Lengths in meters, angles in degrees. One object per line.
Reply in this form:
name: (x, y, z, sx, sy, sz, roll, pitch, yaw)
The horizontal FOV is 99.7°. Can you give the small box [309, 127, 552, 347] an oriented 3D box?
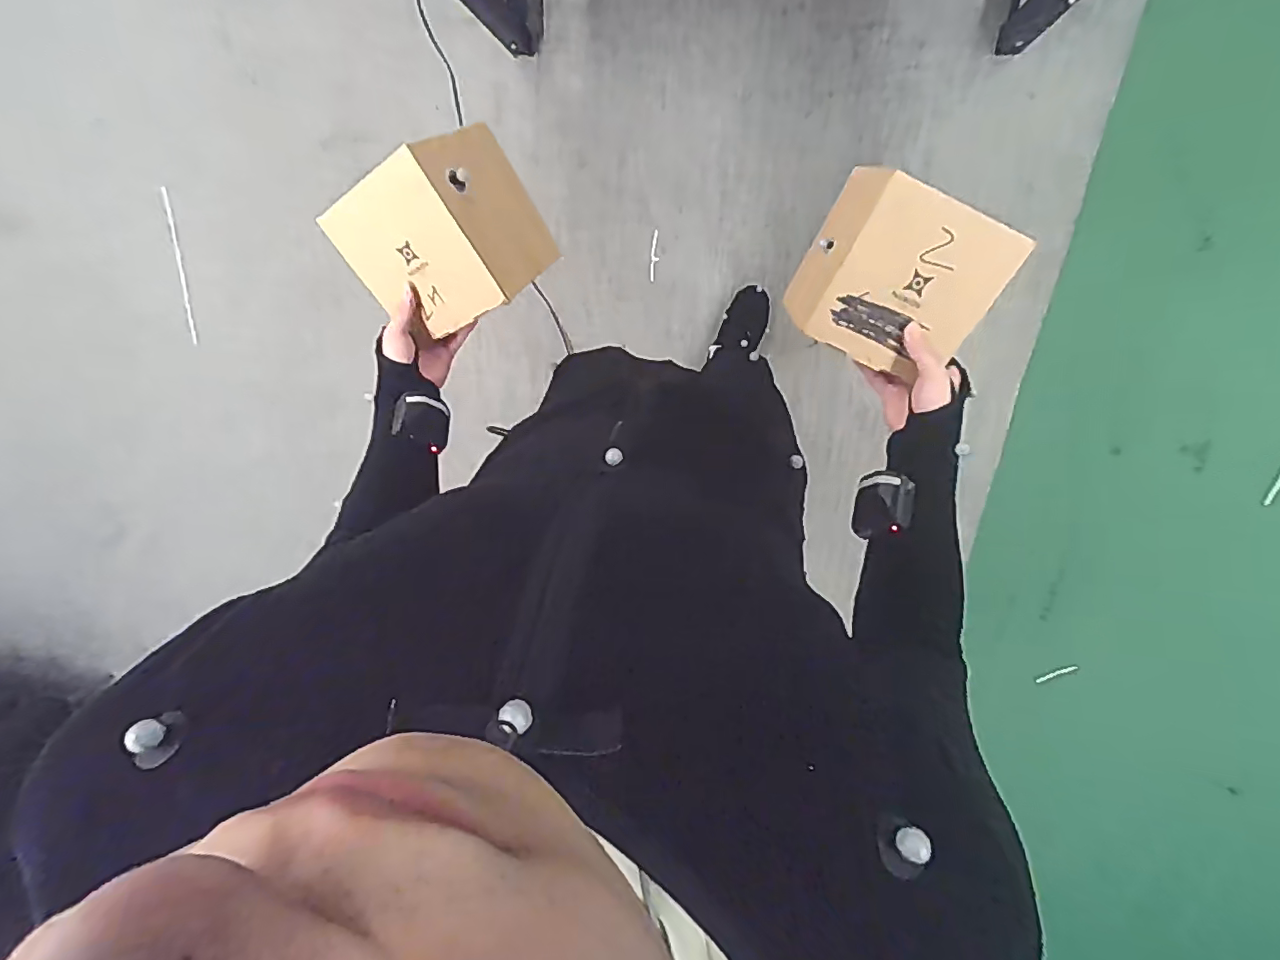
small box: (-0.238, -0.297, 0.655, 0.168, 0.176, 0.179, -14, 124, 30)
